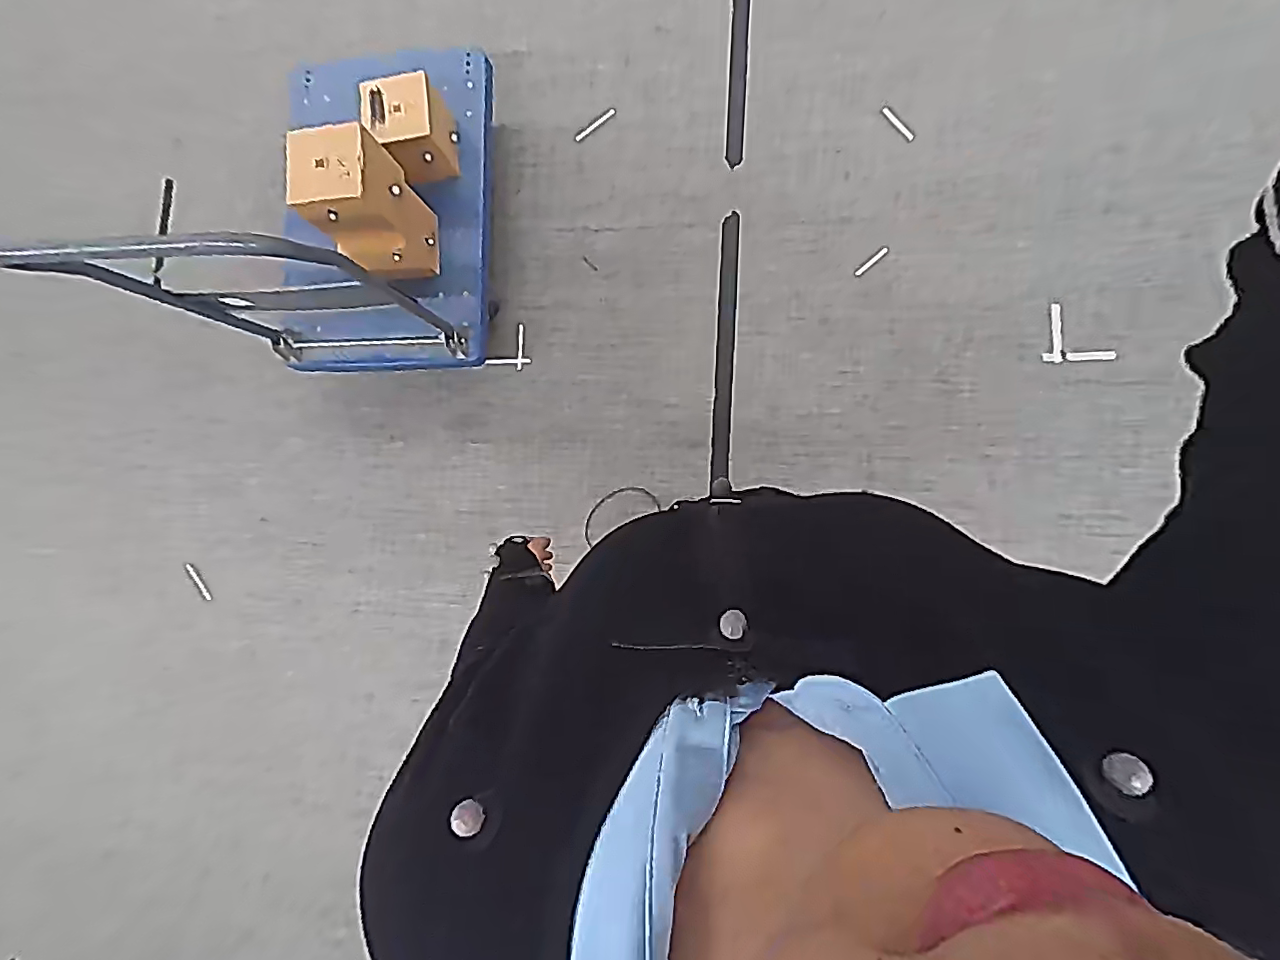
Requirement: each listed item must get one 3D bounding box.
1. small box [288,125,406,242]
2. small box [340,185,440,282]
[{"bbox_3d":[-0.657,-0.660,1.226,0.179,0.176,0.168,-3,86,7],"label":"small box"},{"bbox_3d":[-0.636,-0.624,1.387,0.179,0.176,0.168,-3,86,7],"label":"small box"}]
